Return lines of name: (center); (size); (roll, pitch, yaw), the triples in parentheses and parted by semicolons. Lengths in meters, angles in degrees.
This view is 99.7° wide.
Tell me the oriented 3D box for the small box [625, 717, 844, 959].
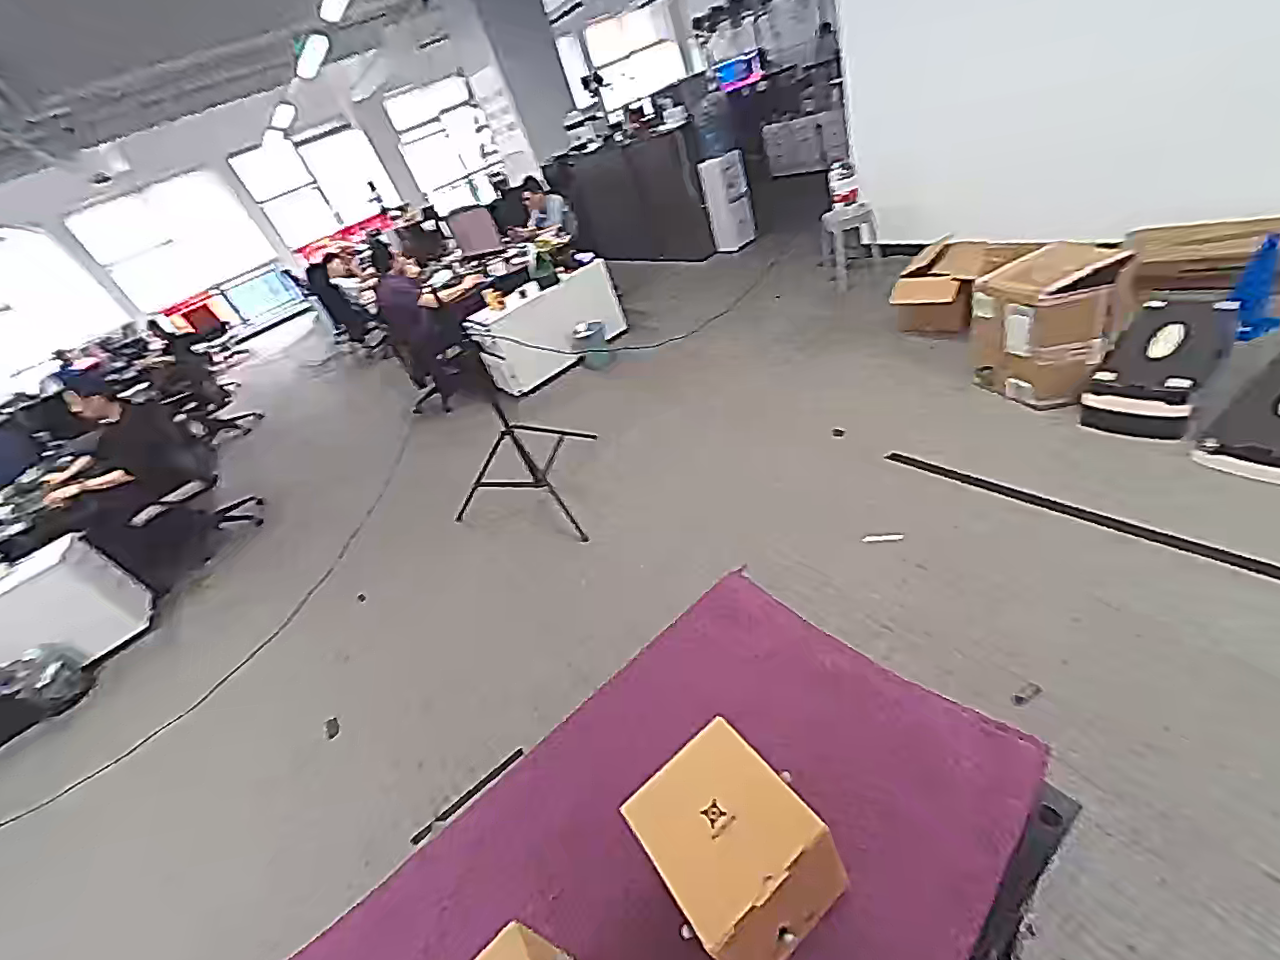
small box: (0.113, 0.434, 0.640); (0.168, 0.176, 0.179); (-36, 35, -18)
